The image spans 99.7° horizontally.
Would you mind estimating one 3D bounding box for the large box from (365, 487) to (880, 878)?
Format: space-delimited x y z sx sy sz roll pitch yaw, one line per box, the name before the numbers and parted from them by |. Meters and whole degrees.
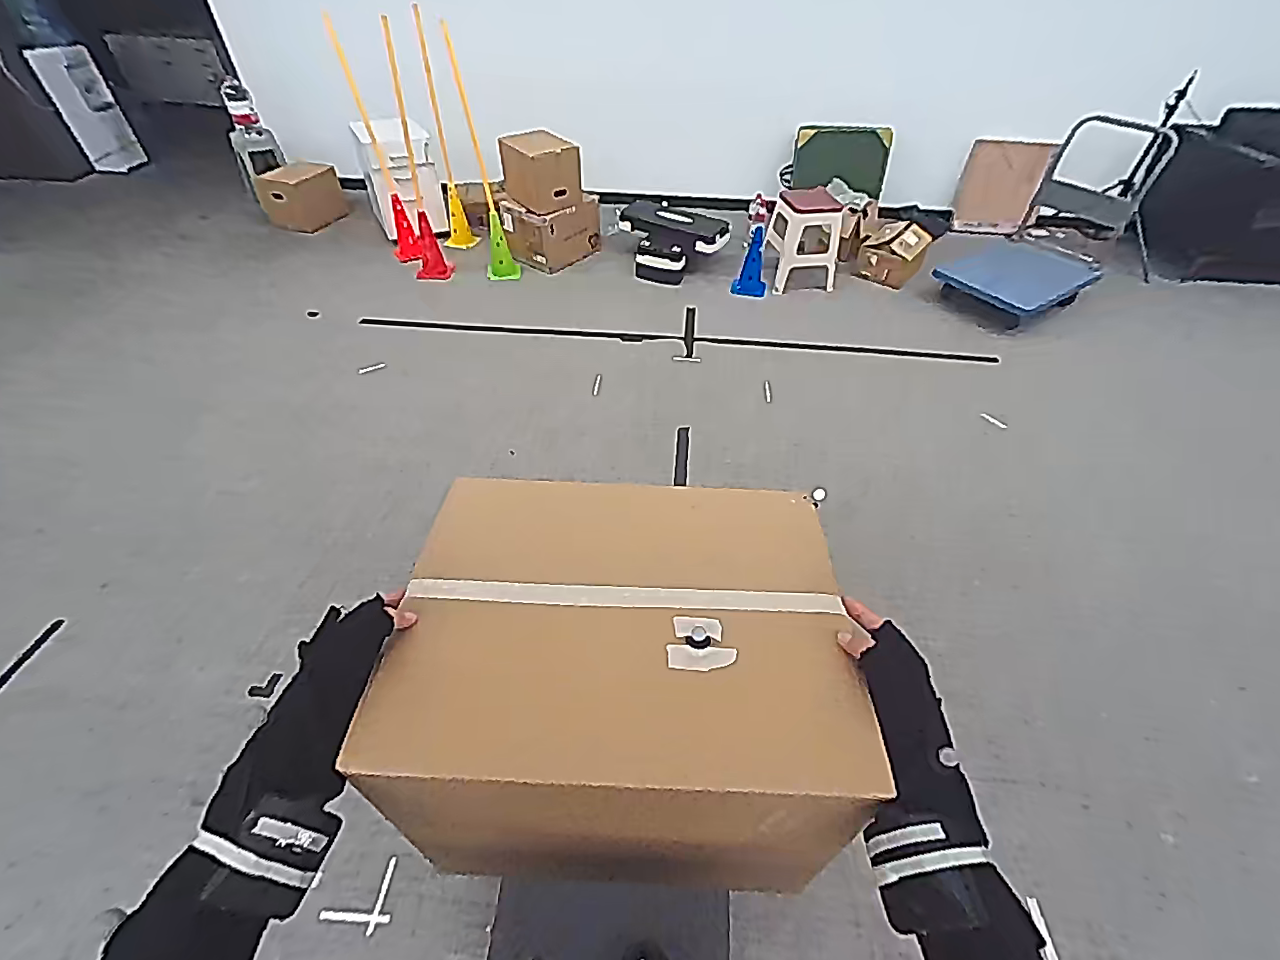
large box | -0.015 0.227 0.617 0.408 0.320 0.320 3 43 1
